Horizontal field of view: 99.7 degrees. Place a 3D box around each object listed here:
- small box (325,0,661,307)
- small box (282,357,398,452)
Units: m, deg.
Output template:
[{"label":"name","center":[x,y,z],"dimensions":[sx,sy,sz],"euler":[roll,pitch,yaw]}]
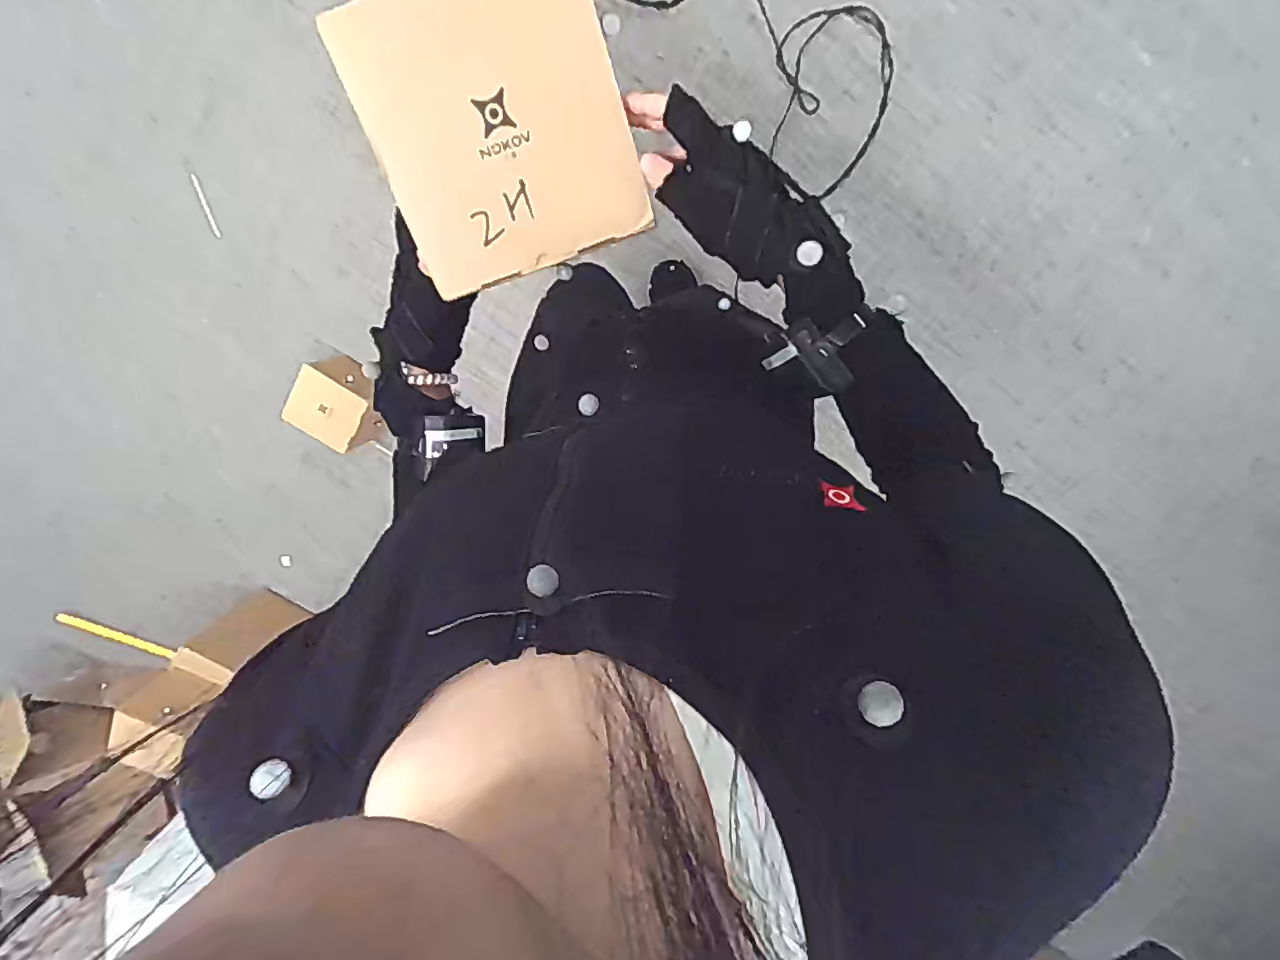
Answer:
[{"label":"small box","center":[-0.091,-0.251,0.421],"dimensions":[0.168,0.176,0.179],"euler":[-17,113,5]},{"label":"small box","center":[-0.769,-0.204,1.401],"dimensions":[0.179,0.176,0.168],"euler":[32,109,-9]}]
